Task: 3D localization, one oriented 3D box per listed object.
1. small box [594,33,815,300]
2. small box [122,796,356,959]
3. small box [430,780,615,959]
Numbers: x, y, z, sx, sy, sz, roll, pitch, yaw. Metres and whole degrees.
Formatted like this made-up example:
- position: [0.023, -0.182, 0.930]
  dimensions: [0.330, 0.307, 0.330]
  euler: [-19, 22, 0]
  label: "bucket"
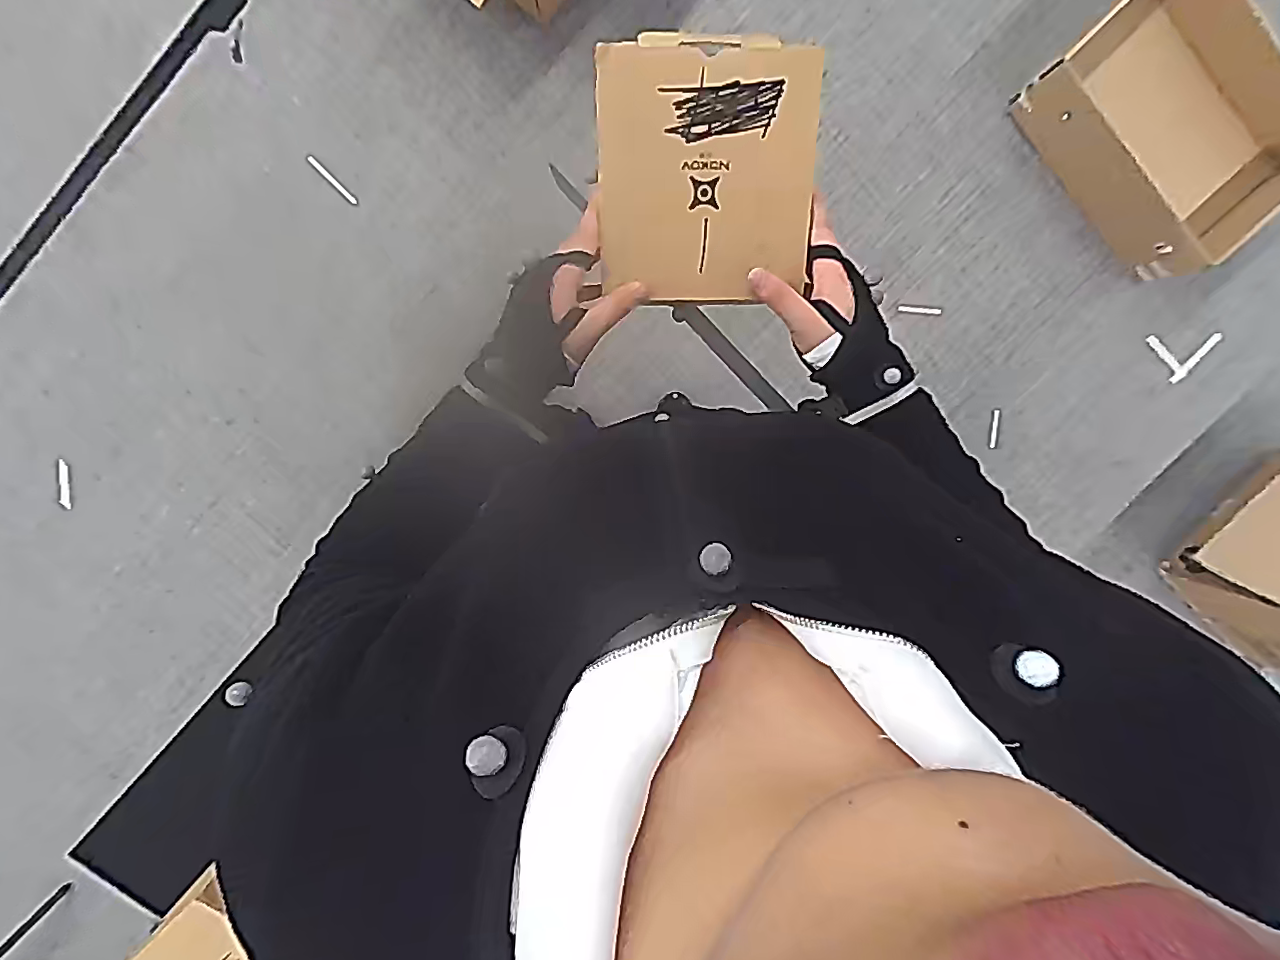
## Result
- position: [0.042, -0.257, 0.486]
  dimensions: [0.168, 0.176, 0.179]
  euler: [-1, 108, -2]
  label: "small box"
- position: [-0.539, 0.595, 0.747]
  dimensions: [0.179, 0.176, 0.168]
  euler: [-44, 98, 5]
  label: "small box"
- position: [-0.148, 0.571, 0.758]
  dimensions: [0.179, 0.176, 0.168]
  euler: [42, 95, -6]
  label: "small box"
